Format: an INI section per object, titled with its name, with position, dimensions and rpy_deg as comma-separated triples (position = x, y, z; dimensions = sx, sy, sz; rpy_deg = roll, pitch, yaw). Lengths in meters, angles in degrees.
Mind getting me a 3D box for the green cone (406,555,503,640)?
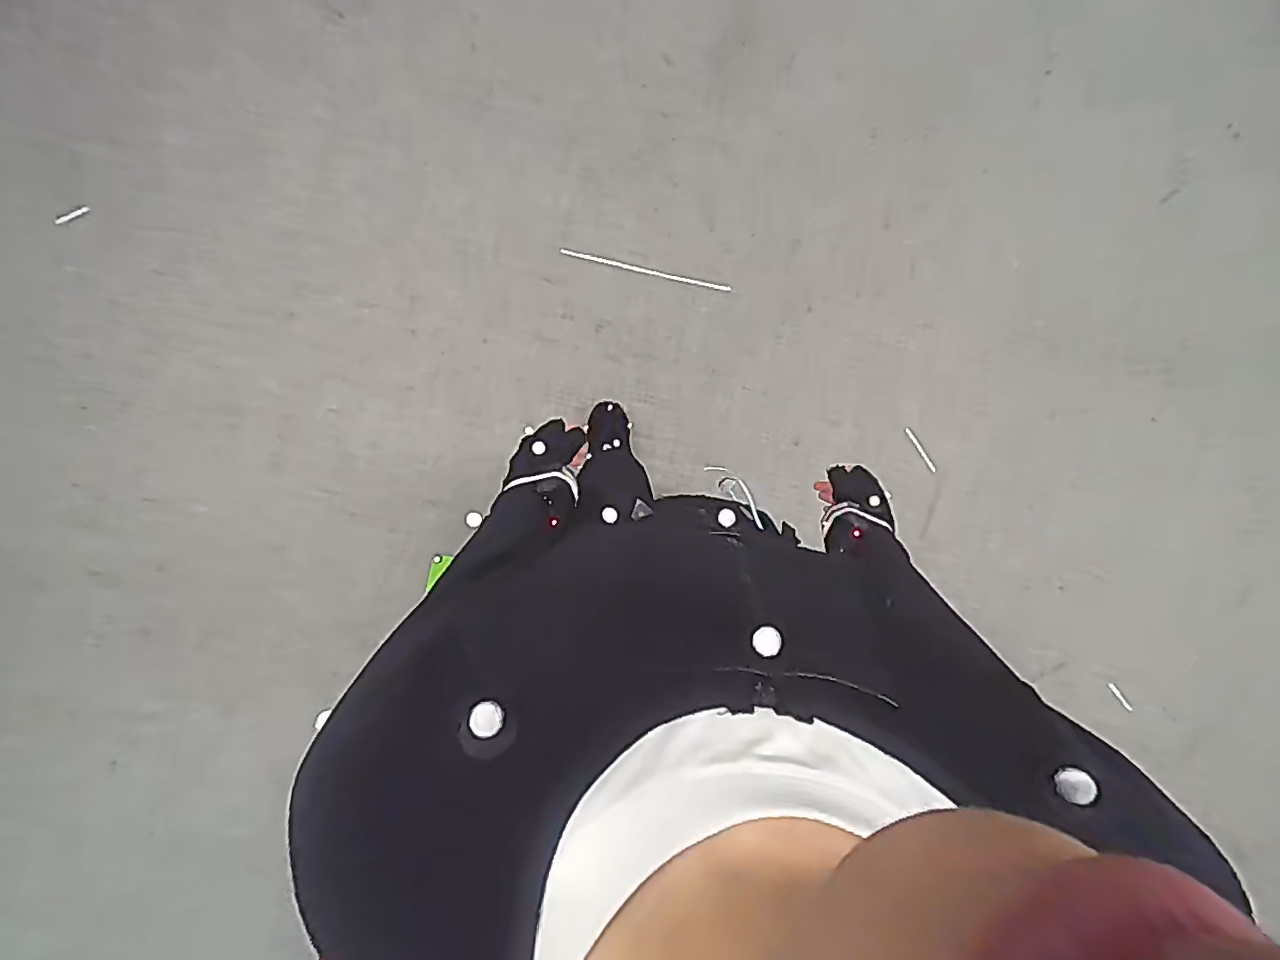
[green cone]
position = -0.476, 0.315, 1.290
dimensions = 0.202, 0.368, 0.200
rpy_deg = 12, 89, -2
